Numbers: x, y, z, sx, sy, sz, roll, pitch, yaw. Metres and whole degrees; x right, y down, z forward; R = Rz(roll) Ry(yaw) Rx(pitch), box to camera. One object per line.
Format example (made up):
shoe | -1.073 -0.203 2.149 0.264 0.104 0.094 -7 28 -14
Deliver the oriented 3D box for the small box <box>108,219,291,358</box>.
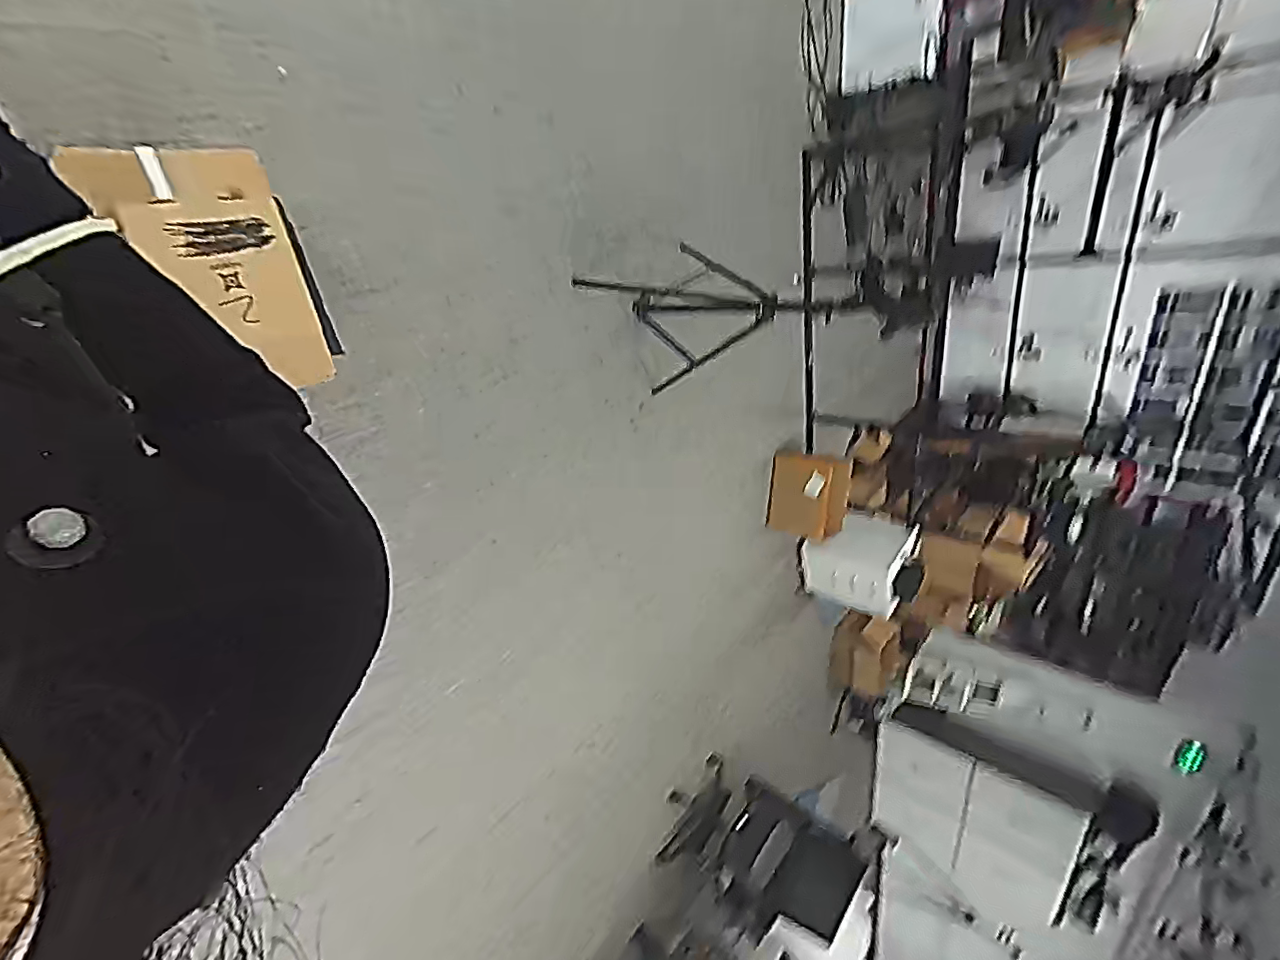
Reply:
small box | -0.701 -0.304 0.862 0.168 0.176 0.179 -31 123 -37
